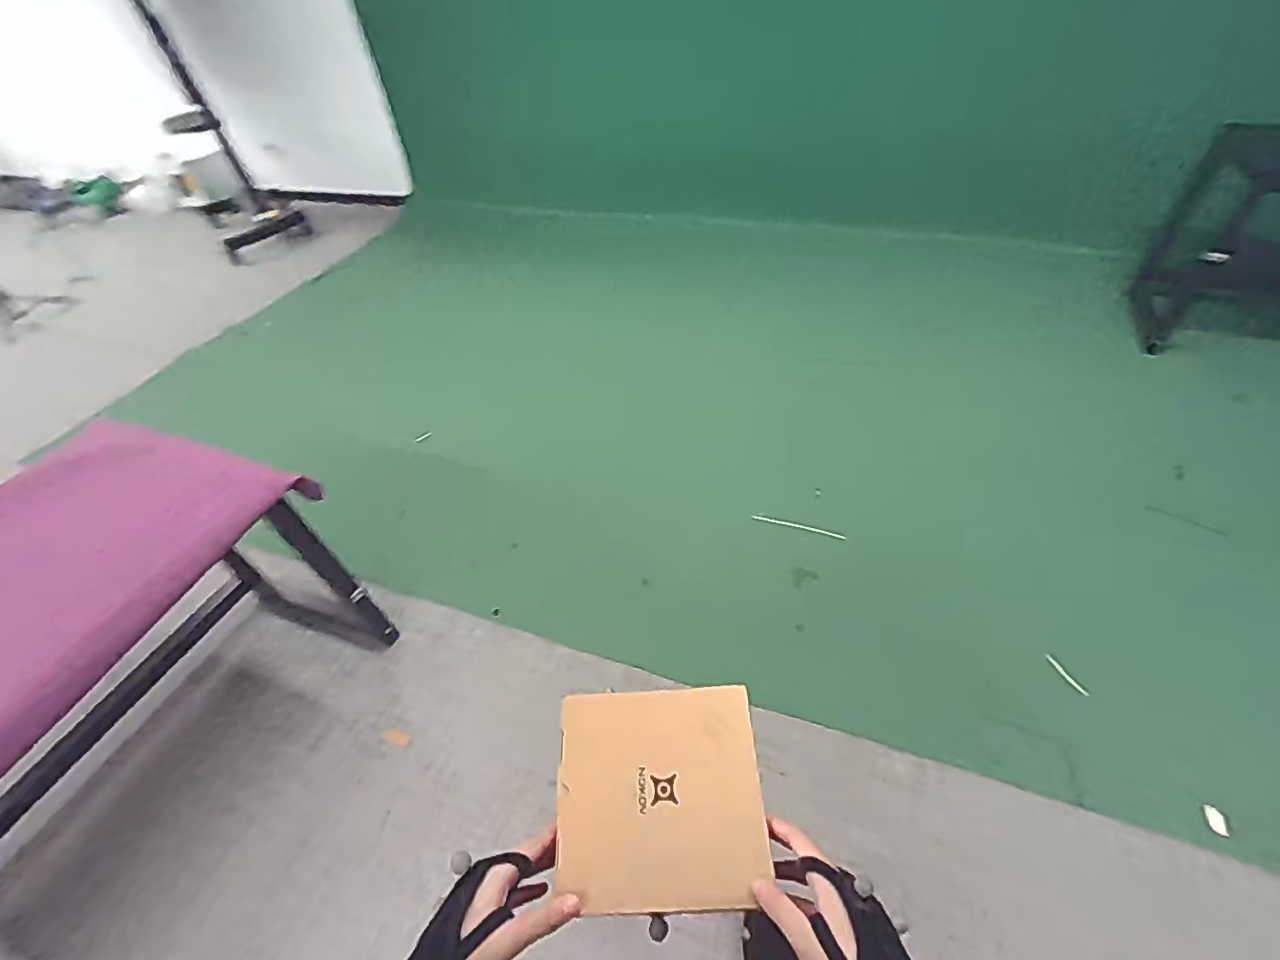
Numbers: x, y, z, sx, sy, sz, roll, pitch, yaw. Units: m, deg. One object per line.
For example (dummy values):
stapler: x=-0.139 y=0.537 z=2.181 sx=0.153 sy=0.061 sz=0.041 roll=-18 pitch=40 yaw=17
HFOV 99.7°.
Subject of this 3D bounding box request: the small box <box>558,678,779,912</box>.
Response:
small box: x=0.026 y=0.308 z=0.529 sx=0.179 sy=0.176 sz=0.168 roll=-8 pitch=52 yaw=4
